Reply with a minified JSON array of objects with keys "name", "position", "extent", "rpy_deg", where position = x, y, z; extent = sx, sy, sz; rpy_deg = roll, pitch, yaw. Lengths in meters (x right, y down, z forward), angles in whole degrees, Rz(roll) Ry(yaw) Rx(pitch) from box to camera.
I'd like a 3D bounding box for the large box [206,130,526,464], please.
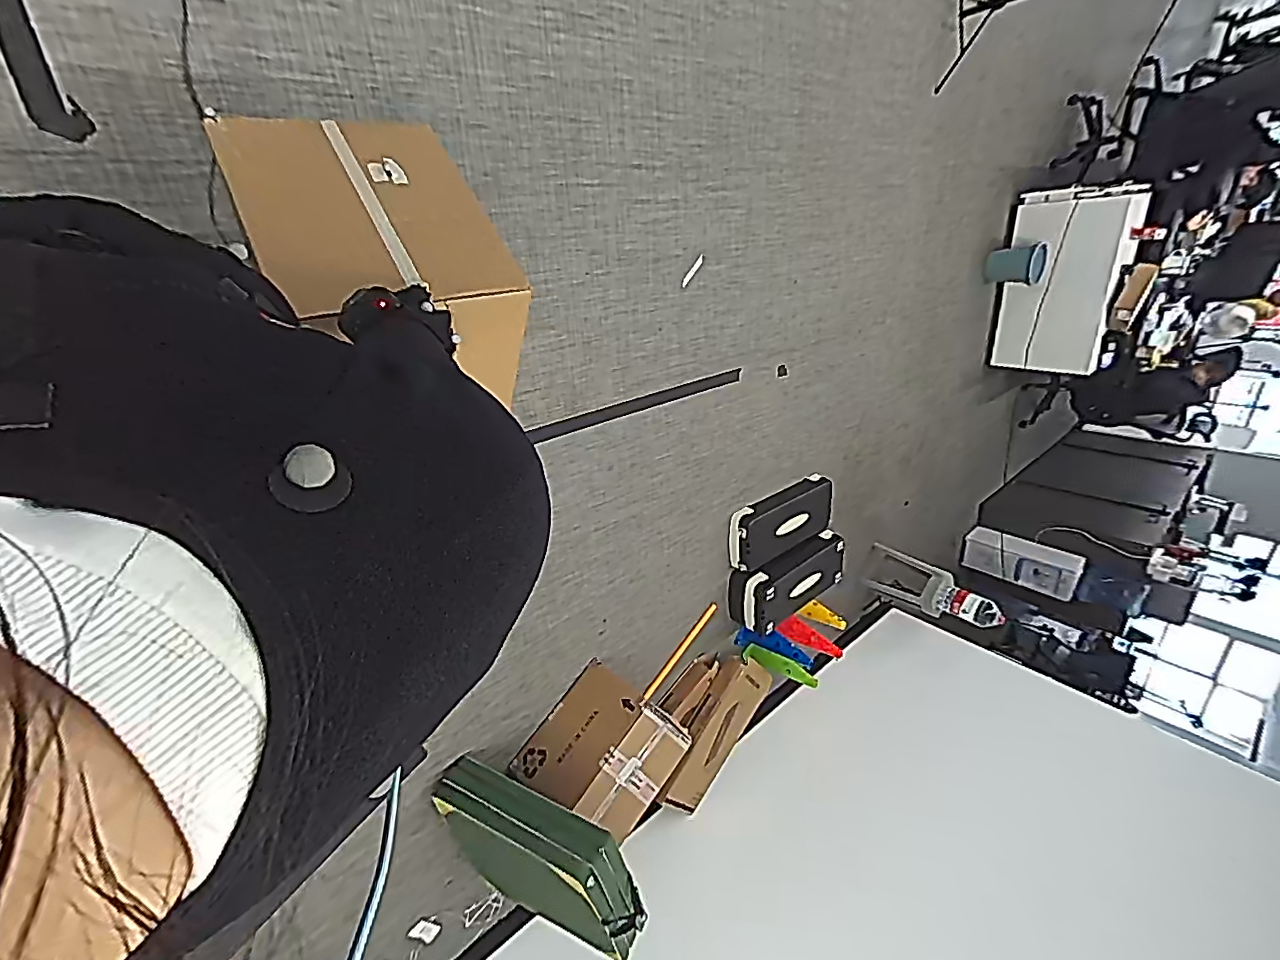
[{"name":"large box","position":[-0.431,-0.300,0.891],"extent":[0.320,0.408,0.320],"rpy_deg":[-21,157,-32]}]
